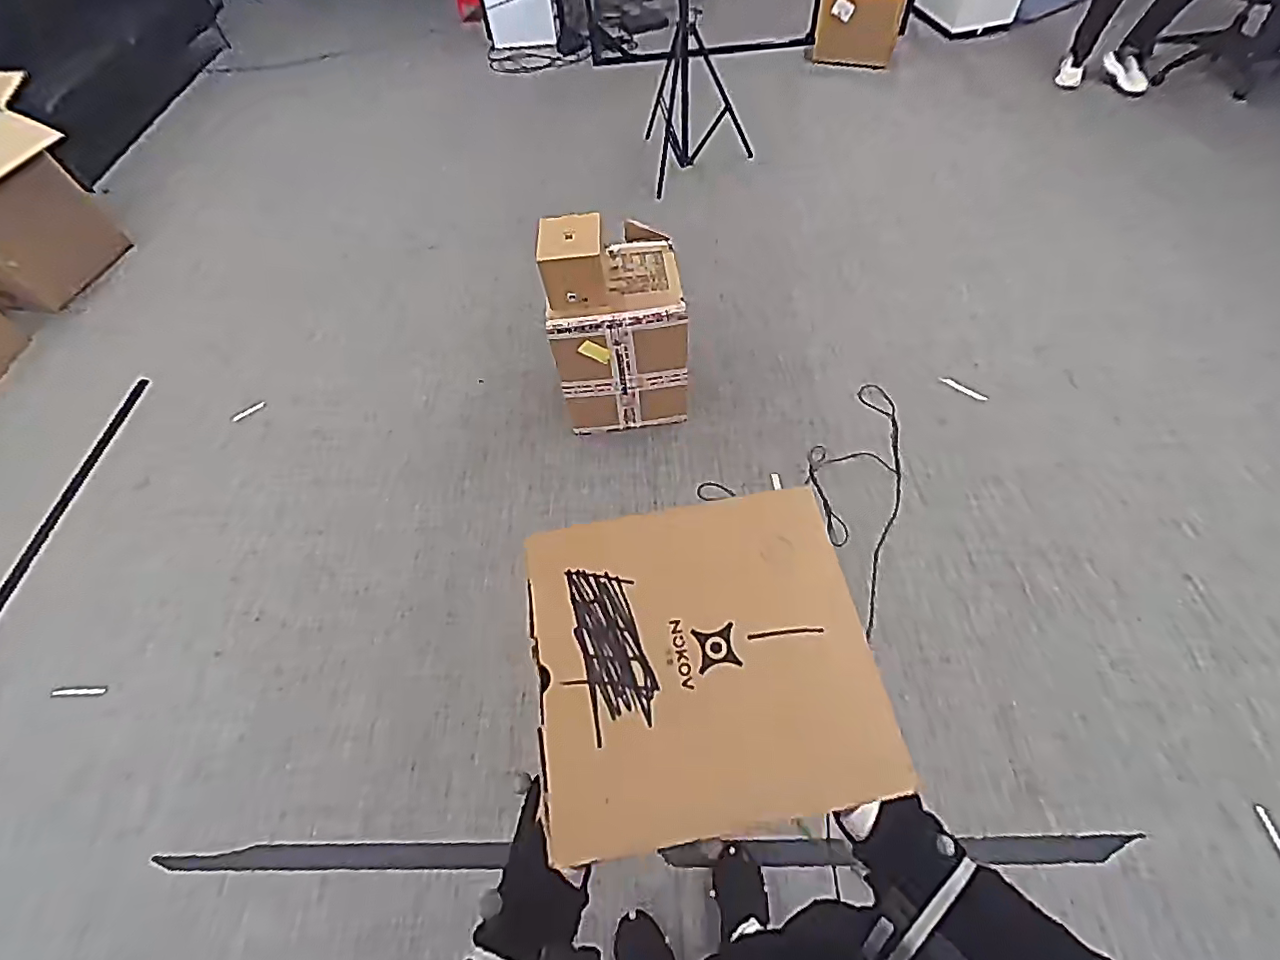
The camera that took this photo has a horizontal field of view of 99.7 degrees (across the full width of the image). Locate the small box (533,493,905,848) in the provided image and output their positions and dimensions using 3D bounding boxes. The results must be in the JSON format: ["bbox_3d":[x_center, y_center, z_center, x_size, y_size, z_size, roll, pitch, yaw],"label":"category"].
[{"bbox_3d":[0.036,0.130,0.365,0.179,0.176,0.168,-9,62,-3],"label":"small box"}]

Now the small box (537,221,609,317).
[{"bbox_3d":[-0.178,-0.577,1.487,0.168,0.176,0.179,-5,61,4],"label":"small box"}]
